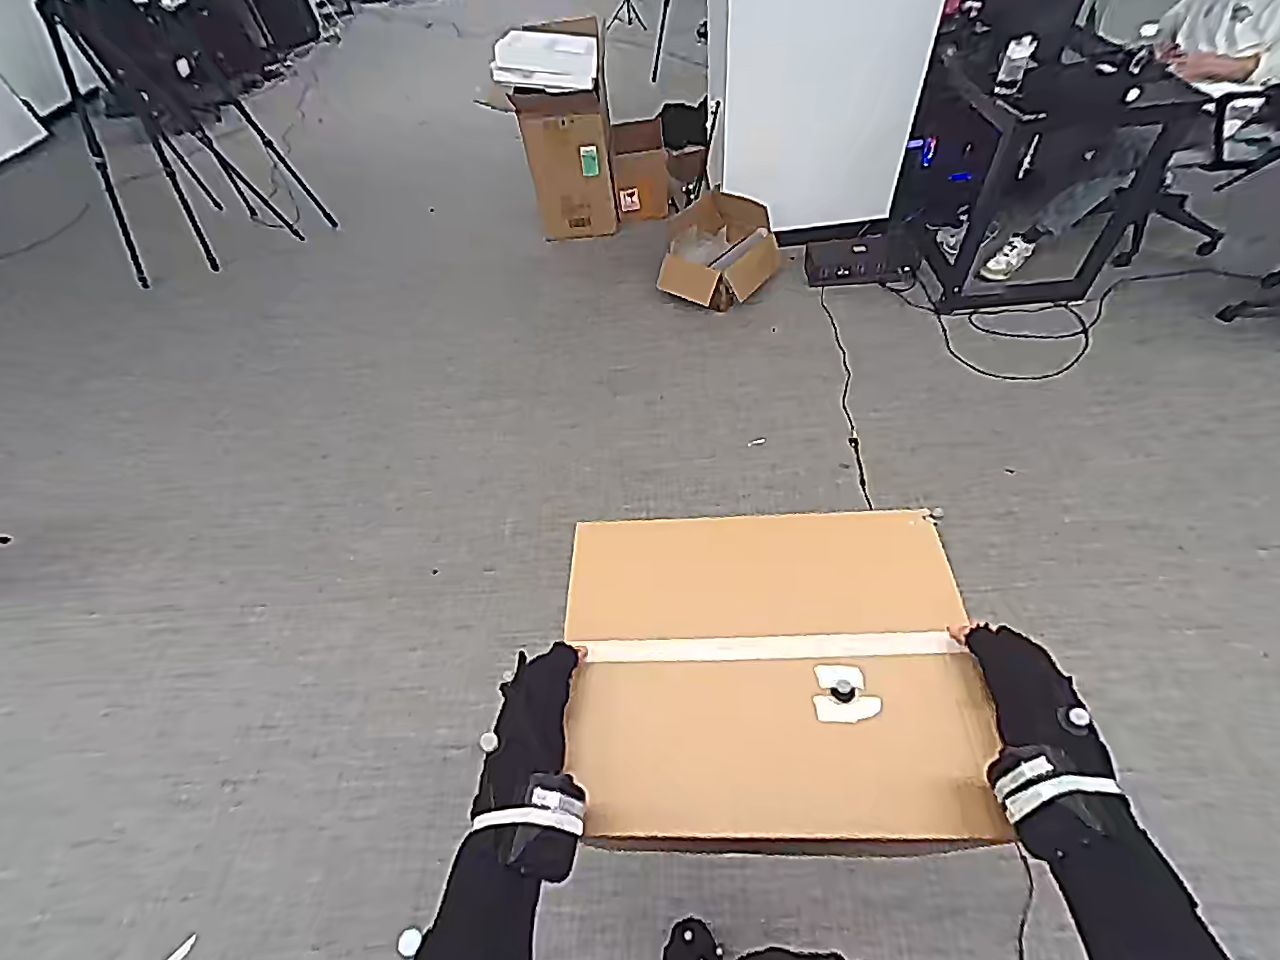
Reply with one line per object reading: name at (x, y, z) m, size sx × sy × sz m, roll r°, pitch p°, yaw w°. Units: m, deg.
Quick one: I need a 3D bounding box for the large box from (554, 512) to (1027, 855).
large box at (0.133, 0.260, 0.660) m, size 0.408 × 0.320 × 0.320 m, roll -3°, pitch 53°, yaw 5°
